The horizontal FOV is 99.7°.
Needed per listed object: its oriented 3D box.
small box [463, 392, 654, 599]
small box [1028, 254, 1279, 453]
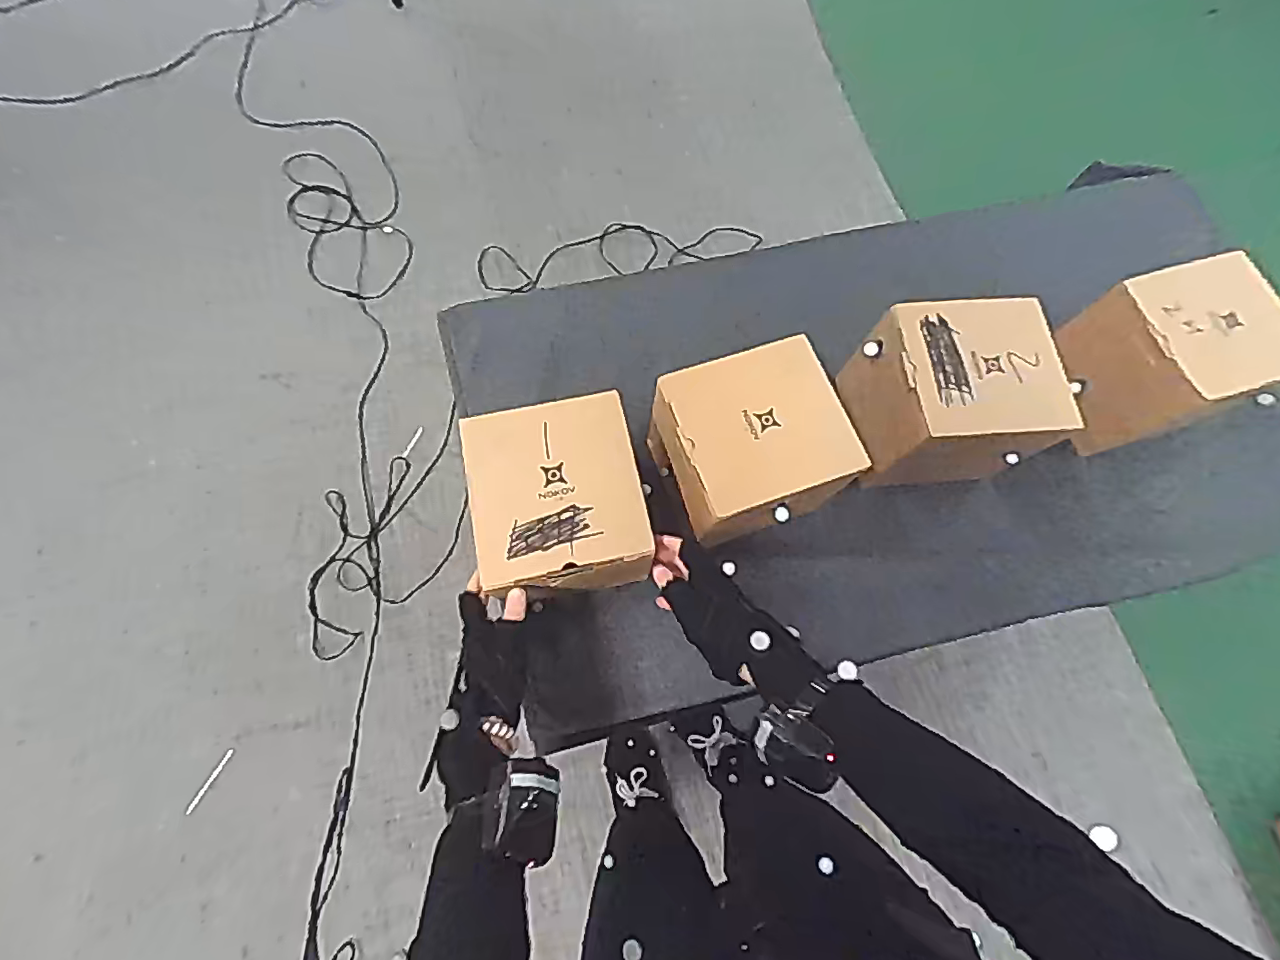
[{"bbox_3d":[-0.084,0.029,0.598,0.168,0.176,0.179,-11,71,-7],"label":"small box"},{"bbox_3d":[0.662,-0.153,0.694,0.179,0.176,0.168,-15,72,-7],"label":"small box"}]
